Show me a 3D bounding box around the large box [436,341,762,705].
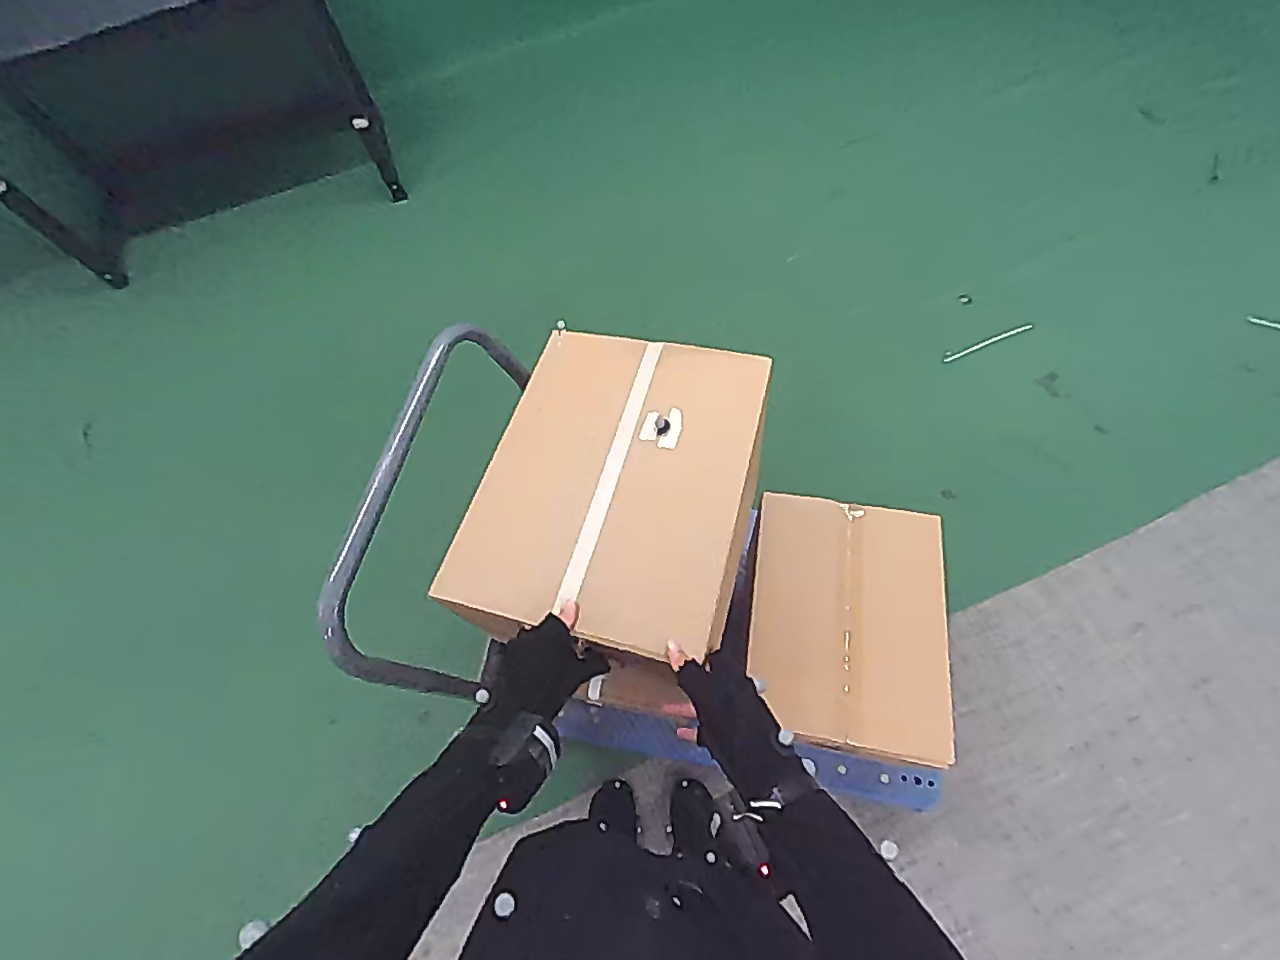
[{"bbox_3d":[-0.016,0.065,0.786,0.320,0.320,0.408,11,62,14],"label":"large box"}]
